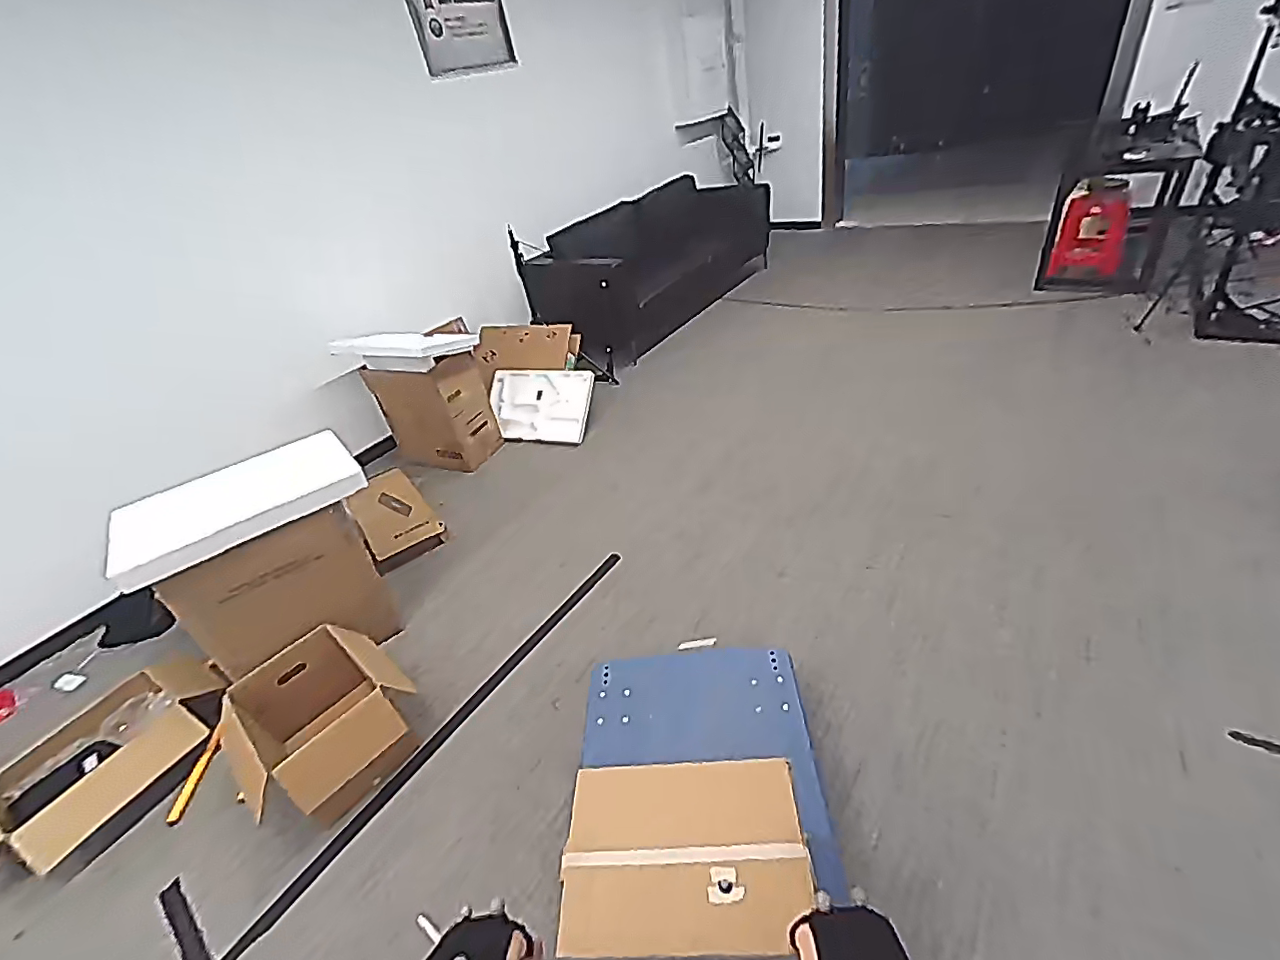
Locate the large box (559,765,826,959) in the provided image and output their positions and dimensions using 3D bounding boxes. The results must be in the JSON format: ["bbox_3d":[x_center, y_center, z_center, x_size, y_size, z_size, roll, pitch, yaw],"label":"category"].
[{"bbox_3d":[0.093,0.761,0.984,0.408,0.320,0.320,-6,36,6],"label":"large box"}]
